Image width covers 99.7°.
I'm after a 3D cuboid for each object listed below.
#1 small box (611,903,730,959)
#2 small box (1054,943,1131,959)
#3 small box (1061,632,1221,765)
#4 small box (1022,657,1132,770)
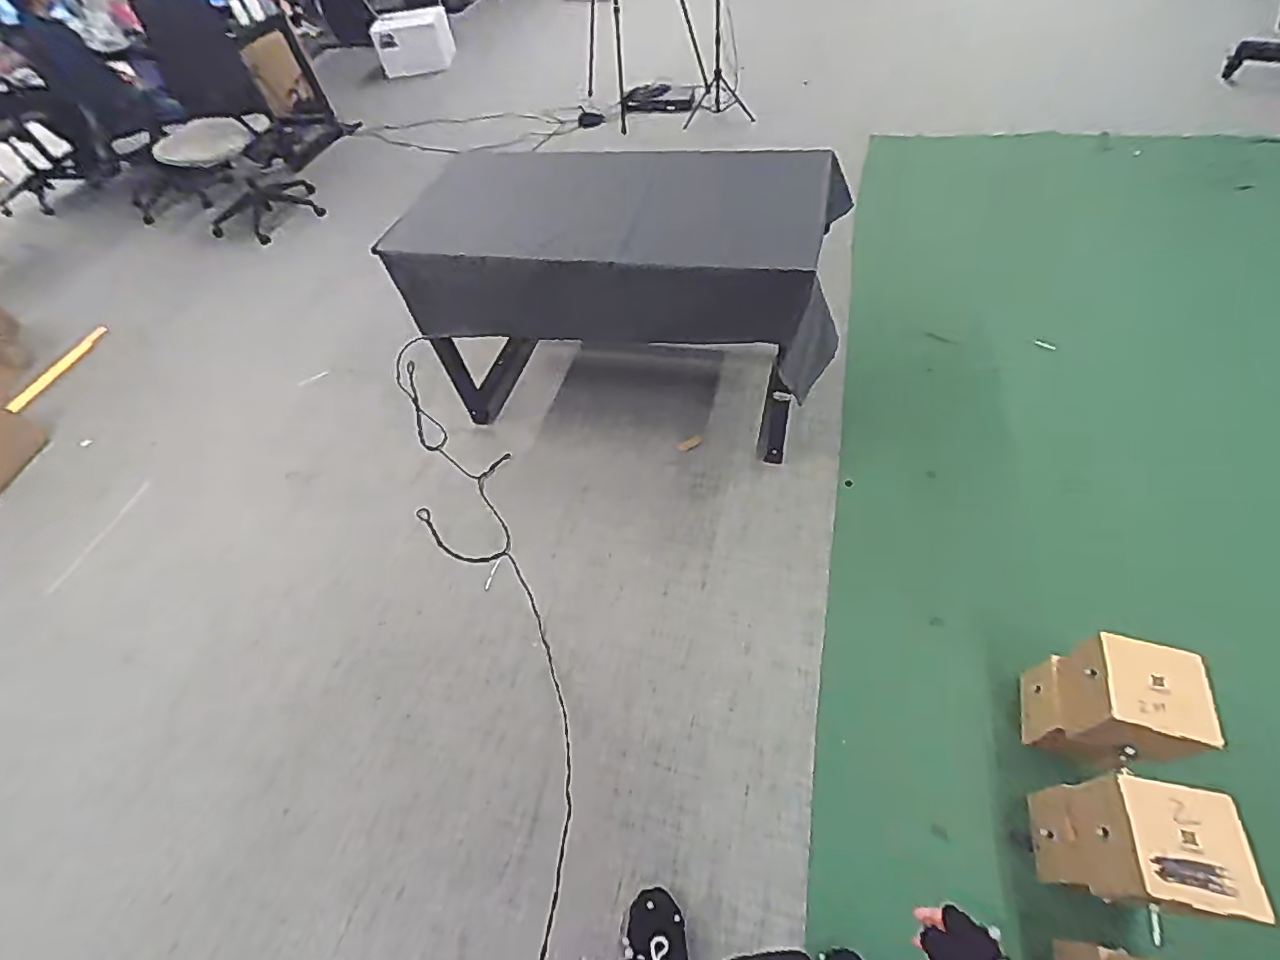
[{"bbox_3d":[0.044,0.955,1.037,0.179,0.176,0.168,9,65,36],"label":"small box"},{"bbox_3d":[0.842,0.931,0.918,0.168,0.176,0.179,12,55,16],"label":"small box"},{"bbox_3d":[0.969,0.433,1.069,0.168,0.176,0.179,12,55,17],"label":"small box"},{"bbox_3d":[0.981,0.524,1.207,0.179,0.176,0.168,13,56,17],"label":"small box"}]
